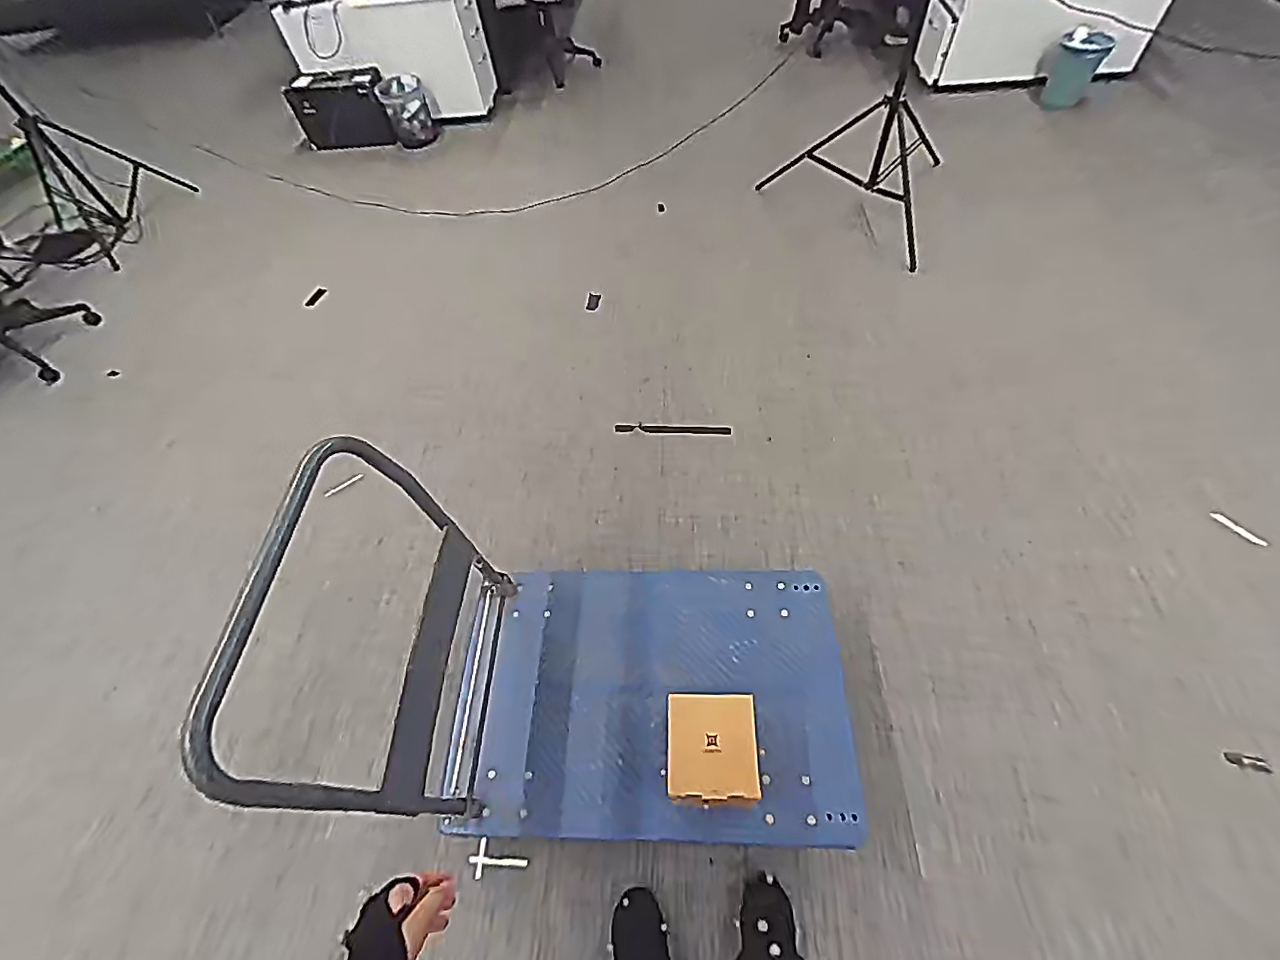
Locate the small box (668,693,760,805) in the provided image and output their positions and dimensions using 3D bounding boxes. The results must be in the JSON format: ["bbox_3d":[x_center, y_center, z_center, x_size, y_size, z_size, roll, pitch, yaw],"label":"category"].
[{"bbox_3d":[0.139,0.533,1.069,0.168,0.176,0.179,-2,56,5],"label":"small box"}]
